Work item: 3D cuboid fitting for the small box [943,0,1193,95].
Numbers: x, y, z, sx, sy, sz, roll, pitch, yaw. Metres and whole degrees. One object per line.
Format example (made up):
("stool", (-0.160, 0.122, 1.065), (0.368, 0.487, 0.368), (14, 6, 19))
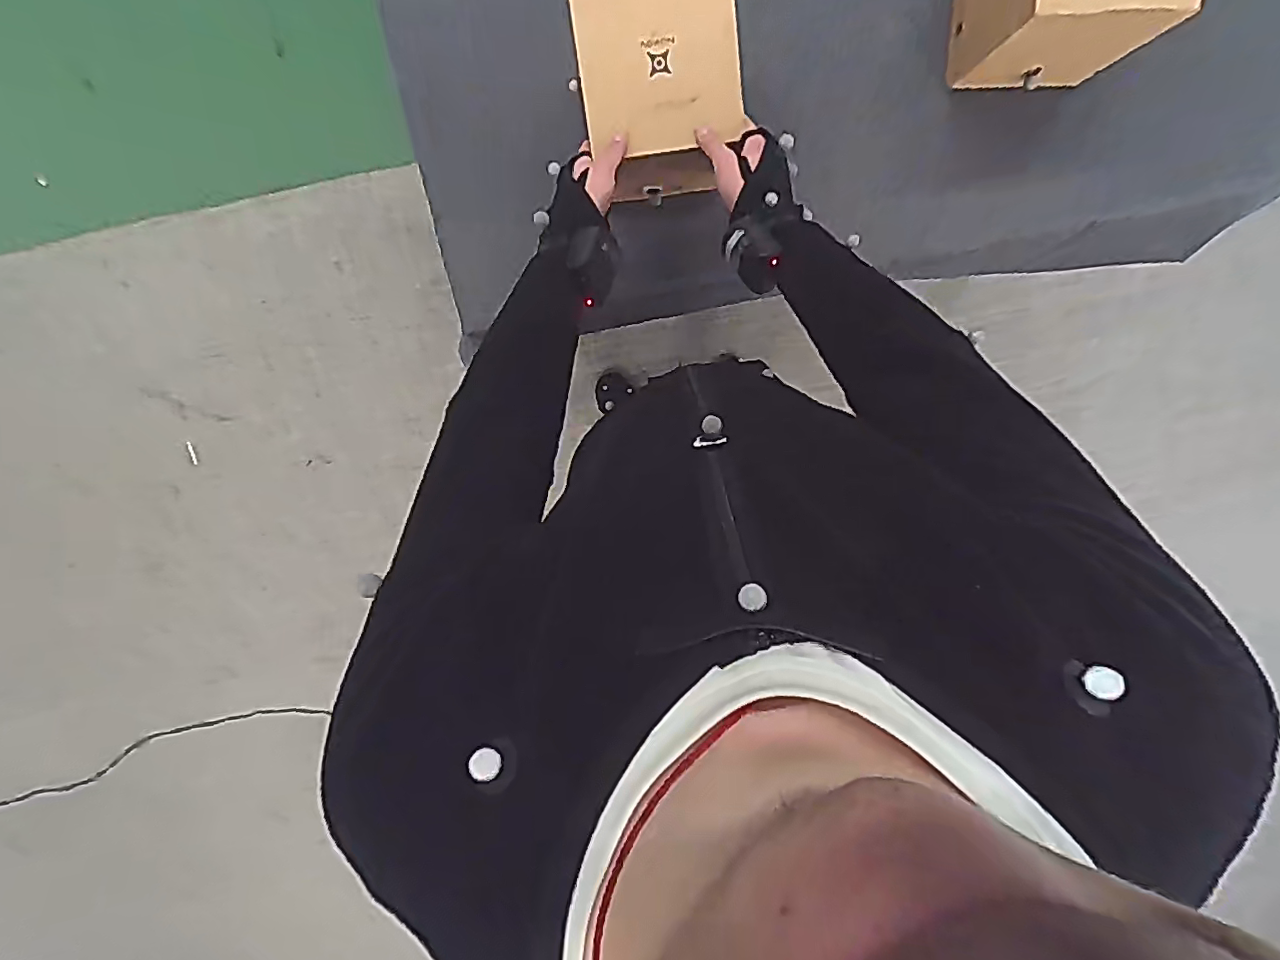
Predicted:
("small box", (0.492, -0.578, 0.629), (0.179, 0.176, 0.168), (-2, 104, -1))

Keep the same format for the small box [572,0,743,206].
("small box", (0.019, -0.436, 0.618), (0.168, 0.176, 0.179), (-5, 103, 2))
